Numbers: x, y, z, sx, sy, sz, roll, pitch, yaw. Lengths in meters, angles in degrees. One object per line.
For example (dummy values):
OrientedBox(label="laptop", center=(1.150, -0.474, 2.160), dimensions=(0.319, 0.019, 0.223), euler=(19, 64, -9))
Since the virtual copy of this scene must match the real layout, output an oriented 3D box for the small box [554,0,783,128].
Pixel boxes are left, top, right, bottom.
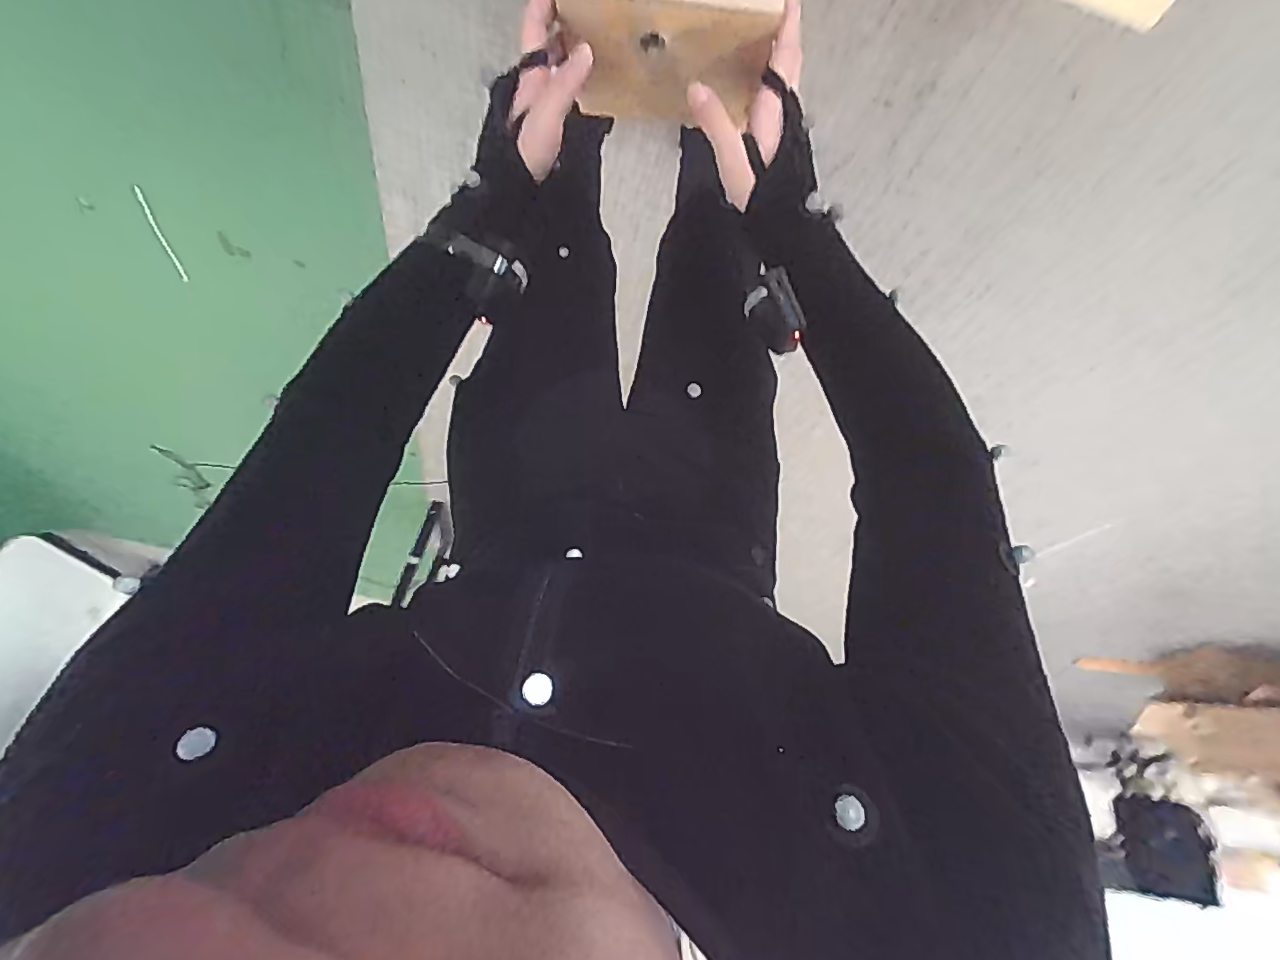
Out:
OrientedBox(label="small box", center=(0.029, -0.435, 0.465), dimensions=(0.179, 0.168, 0.176), euler=(5, -173, 1))
